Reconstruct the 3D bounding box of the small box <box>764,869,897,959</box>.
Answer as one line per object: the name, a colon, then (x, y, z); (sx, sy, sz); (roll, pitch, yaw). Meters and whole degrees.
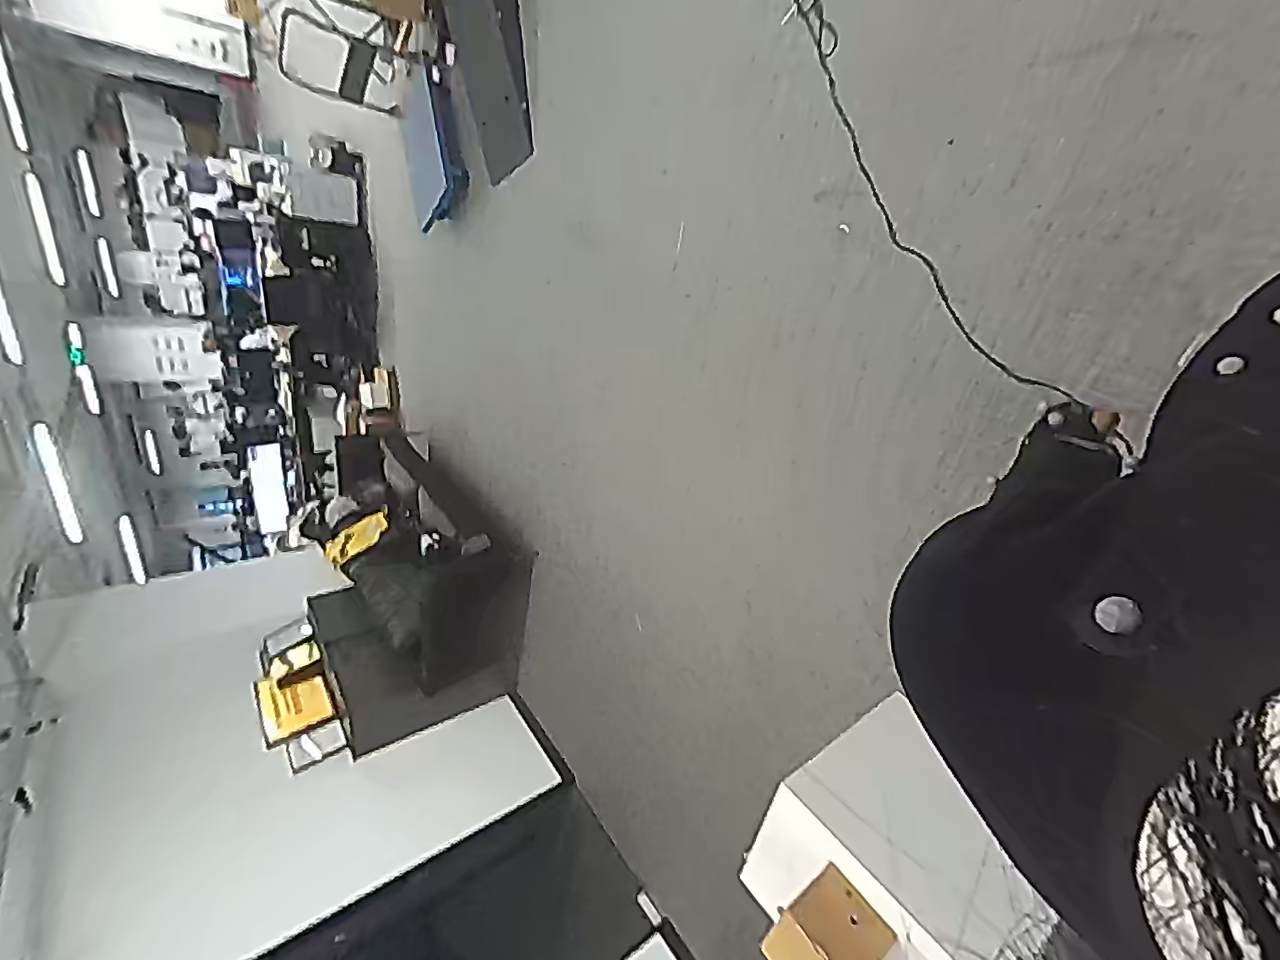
small box: (0.388, 0.953, 1.100); (0.168, 0.176, 0.179); (38, 127, 41)
